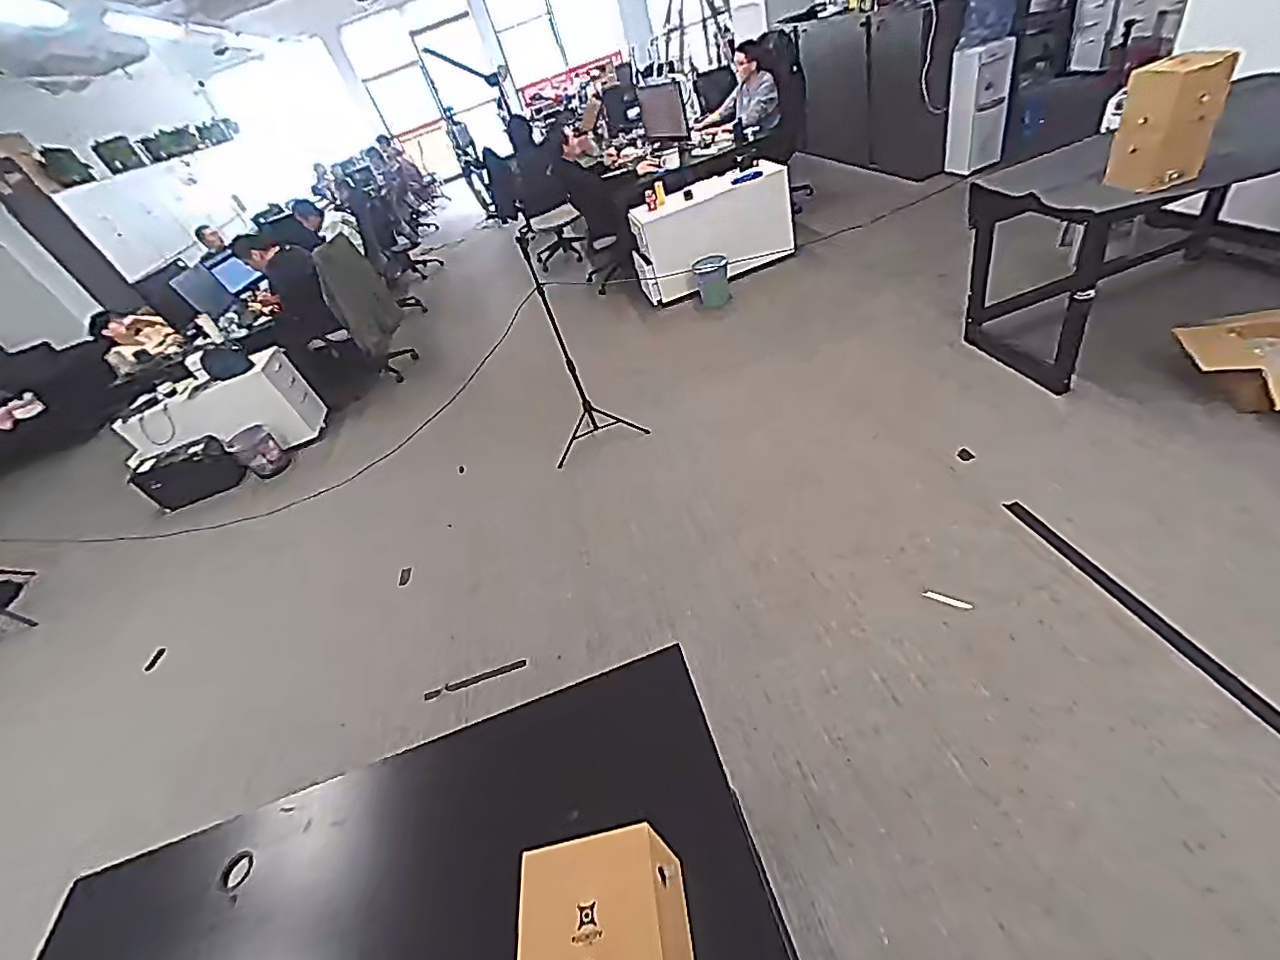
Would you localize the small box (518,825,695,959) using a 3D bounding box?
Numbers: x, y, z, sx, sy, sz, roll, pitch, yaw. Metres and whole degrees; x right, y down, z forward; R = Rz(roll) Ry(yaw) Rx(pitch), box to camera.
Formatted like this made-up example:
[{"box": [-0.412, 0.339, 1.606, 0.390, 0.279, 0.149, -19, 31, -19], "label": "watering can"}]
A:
[{"box": [-0.034, 0.551, 0.644, 0.168, 0.176, 0.179, -18, 39, 6], "label": "small box"}]
